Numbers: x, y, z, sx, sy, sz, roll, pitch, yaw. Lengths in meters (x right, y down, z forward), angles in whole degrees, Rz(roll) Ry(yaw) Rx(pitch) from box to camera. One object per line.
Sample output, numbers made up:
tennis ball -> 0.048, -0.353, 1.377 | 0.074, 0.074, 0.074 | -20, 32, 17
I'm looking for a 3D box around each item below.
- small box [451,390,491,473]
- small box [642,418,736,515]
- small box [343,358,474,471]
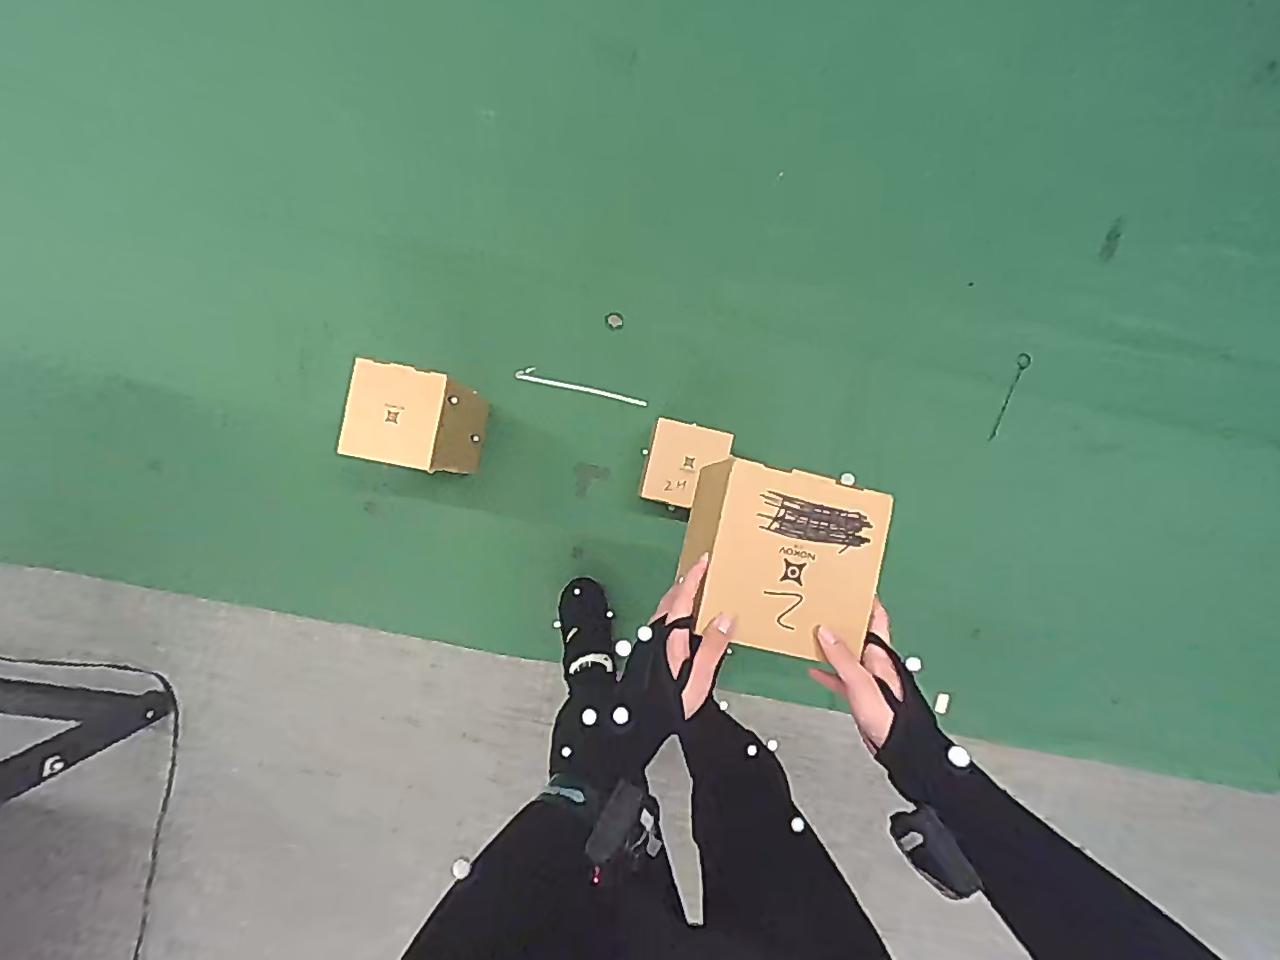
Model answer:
small box -> -0.440, -0.115, 1.196 | 0.168, 0.176, 0.179 | 11, 90, -2
small box -> 0.102, -0.029, 1.217 | 0.168, 0.176, 0.179 | 13, 90, -2
small box -> -0.431, -0.115, 1.034 | 0.168, 0.176, 0.179 | 11, 89, -1
